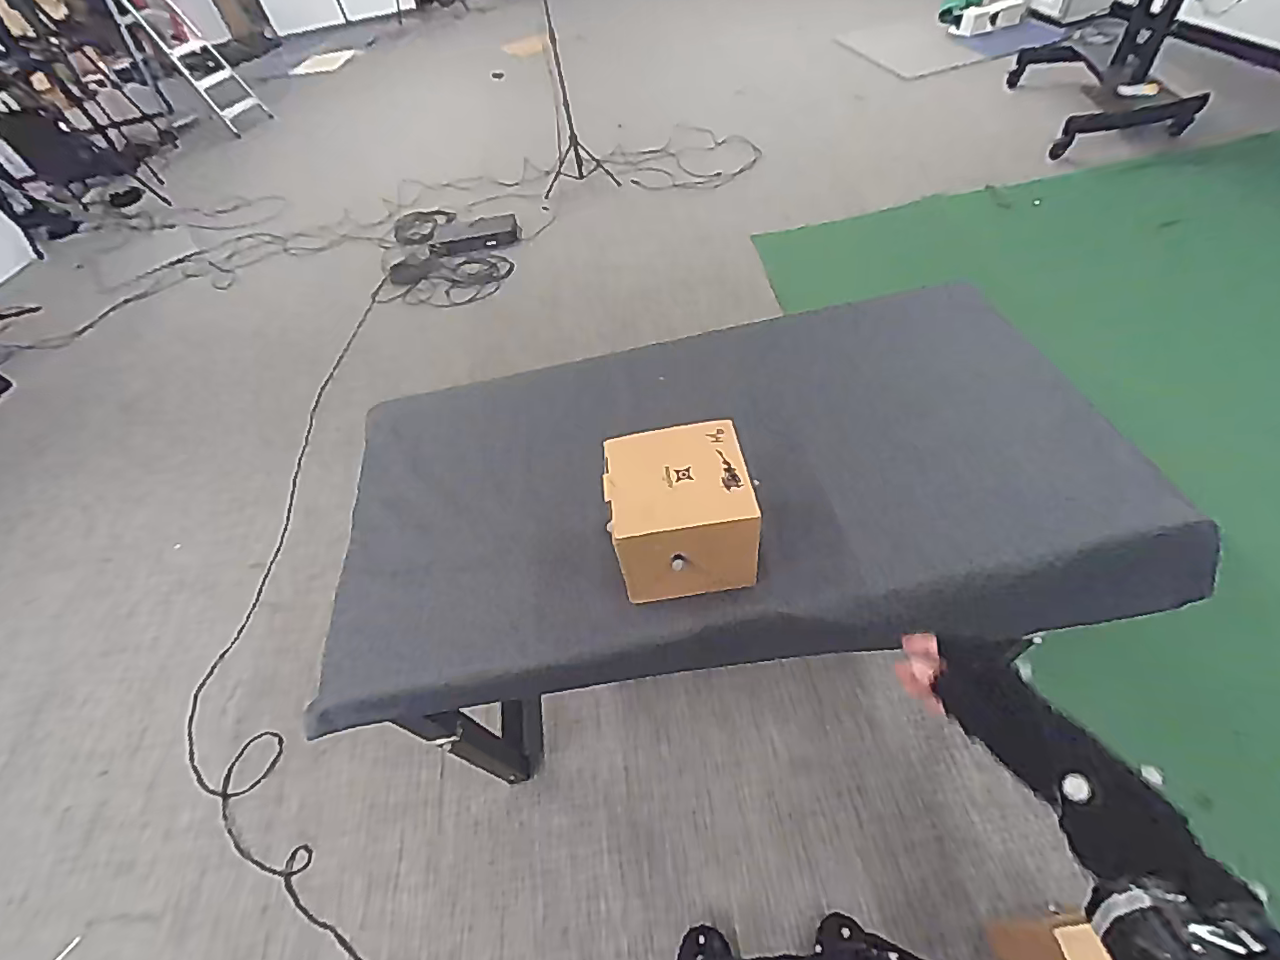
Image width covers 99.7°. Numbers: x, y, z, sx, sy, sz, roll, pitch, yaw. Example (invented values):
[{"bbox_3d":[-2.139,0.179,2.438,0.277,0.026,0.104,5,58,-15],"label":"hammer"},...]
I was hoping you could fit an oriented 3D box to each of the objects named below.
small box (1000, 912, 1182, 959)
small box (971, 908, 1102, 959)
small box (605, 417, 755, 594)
[{"bbox_3d":[0.689,0.758,0.805,0.179,0.176,0.168,-10,50,2],"label":"small box"},{"bbox_3d":[0.721,0.856,0.934,0.179,0.176,0.168,-12,50,1],"label":"small box"},{"bbox_3d":[0.054,0.041,0.739,0.179,0.176,0.168,-8,51,2],"label":"small box"}]
